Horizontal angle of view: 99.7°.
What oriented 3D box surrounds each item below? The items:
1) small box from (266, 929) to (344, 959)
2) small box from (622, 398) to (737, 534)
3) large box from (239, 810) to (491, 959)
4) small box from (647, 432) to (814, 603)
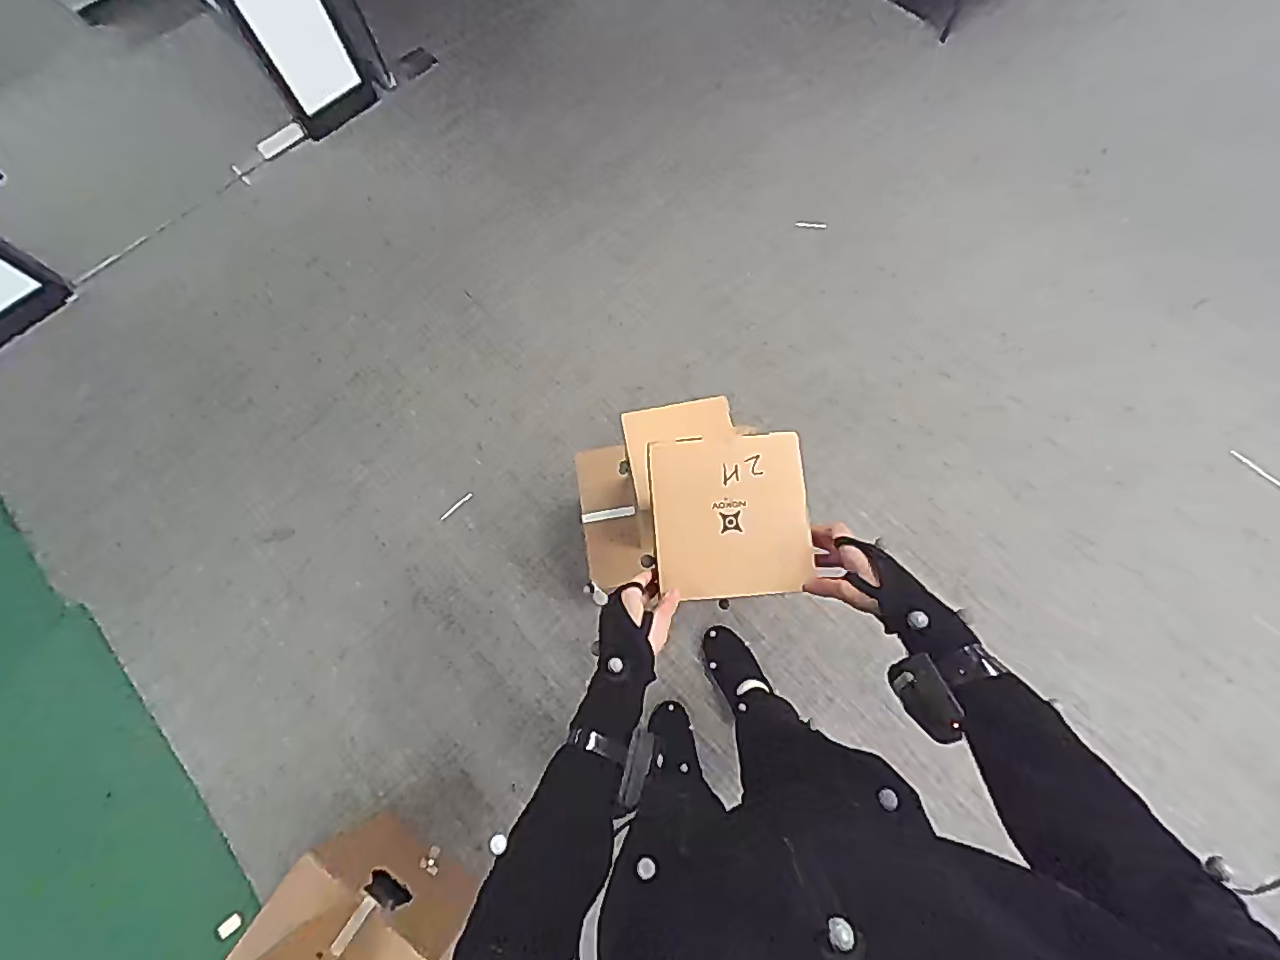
[{"bbox_3d":[-0.556,0.853,0.819,0.168,0.176,0.179,35,76,11],"label":"small box"},{"bbox_3d":[0.073,-0.015,0.914,0.179,0.176,0.168,-11,71,-3],"label":"small box"},{"bbox_3d":[-0.561,0.953,1.044,0.320,0.320,0.408,31,76,13],"label":"large box"},{"bbox_3d":[0.097,0.052,0.653,0.168,0.176,0.179,-4,78,0],"label":"small box"}]
